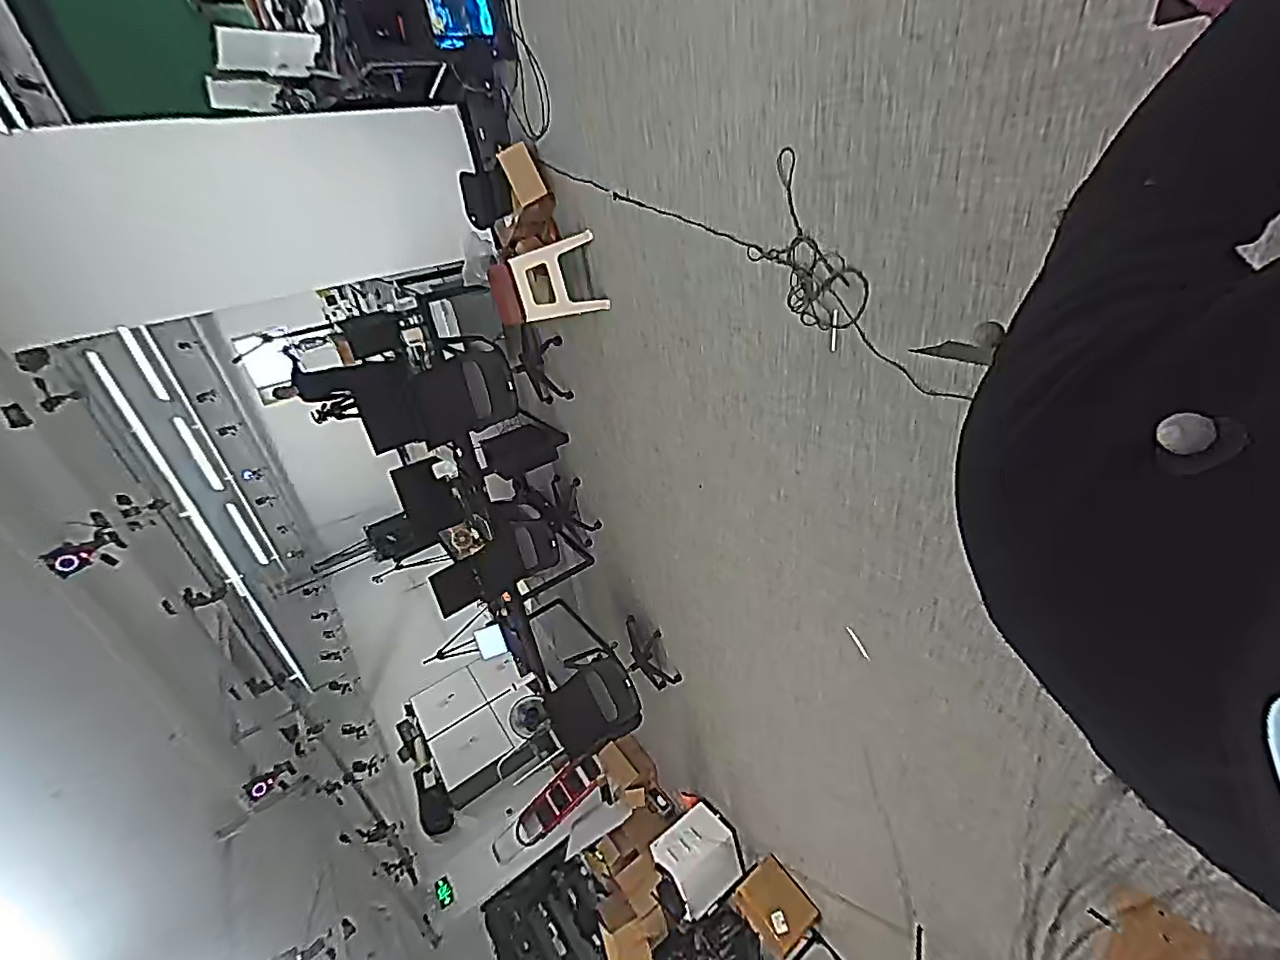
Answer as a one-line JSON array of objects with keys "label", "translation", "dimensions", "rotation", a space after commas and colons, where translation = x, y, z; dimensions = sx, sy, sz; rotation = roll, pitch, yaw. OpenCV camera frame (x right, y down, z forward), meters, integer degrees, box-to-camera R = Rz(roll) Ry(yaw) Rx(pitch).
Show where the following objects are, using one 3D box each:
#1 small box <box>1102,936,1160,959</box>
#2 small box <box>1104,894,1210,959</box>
[{"label": "small box", "translation": [1.424, 1.460, 1.539], "dimensions": [0.179, 0.176, 0.168], "rotation": [23, 132, 51]}, {"label": "small box", "translation": [1.552, 1.403, 1.622], "dimensions": [0.168, 0.176, 0.179], "rotation": [33, 140, 46]}]
